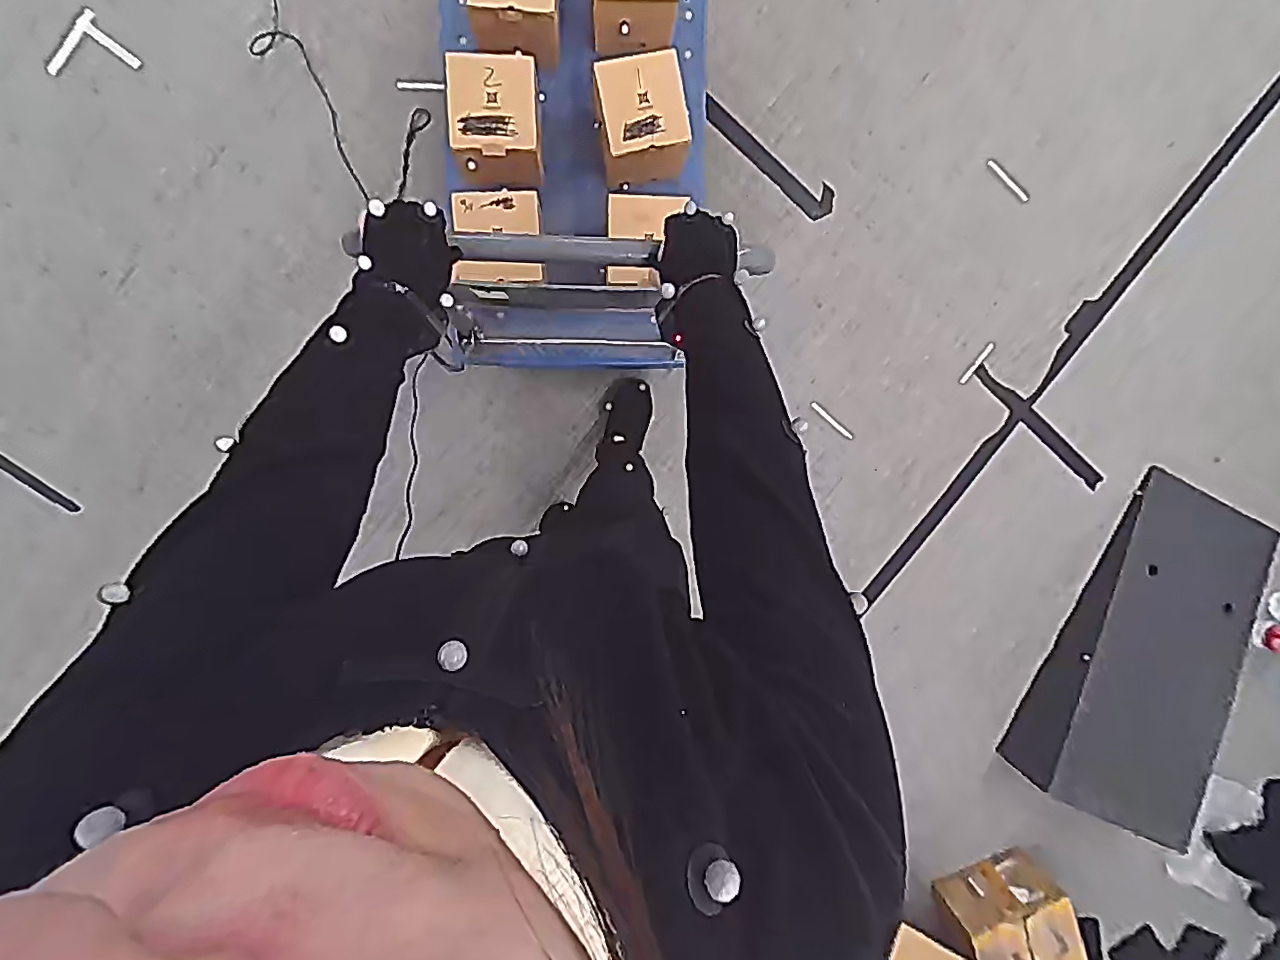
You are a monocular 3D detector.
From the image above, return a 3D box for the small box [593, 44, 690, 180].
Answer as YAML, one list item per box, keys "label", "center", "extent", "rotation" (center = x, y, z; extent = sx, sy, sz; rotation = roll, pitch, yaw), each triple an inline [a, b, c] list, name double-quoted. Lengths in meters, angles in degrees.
- label: "small box"
  center: [0.000, -0.756, 1.133]
  extent: [0.168, 0.176, 0.179]
  rotation: [-12, 97, -3]

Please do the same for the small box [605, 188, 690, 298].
- label: "small box"
  center: [0.011, -0.499, 1.165]
  extent: [0.168, 0.176, 0.179]
  rotation: [0, 96, -5]

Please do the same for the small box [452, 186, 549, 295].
- label: "small box"
  center: [-0.285, -0.493, 1.138]
  extent: [0.168, 0.176, 0.179]
  rotation: [-4, 97, -5]

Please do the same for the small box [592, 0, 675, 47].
- label: "small box"
  center: [-0.016, -1.026, 1.102]
  extent: [0.168, 0.176, 0.179]
  rotation: [-3, 97, -4]

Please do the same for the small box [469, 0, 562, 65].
- label: "small box"
  center: [-0.247, -0.988, 1.086]
  extent: [0.168, 0.176, 0.179]
  rotation: [2, 97, -5]
